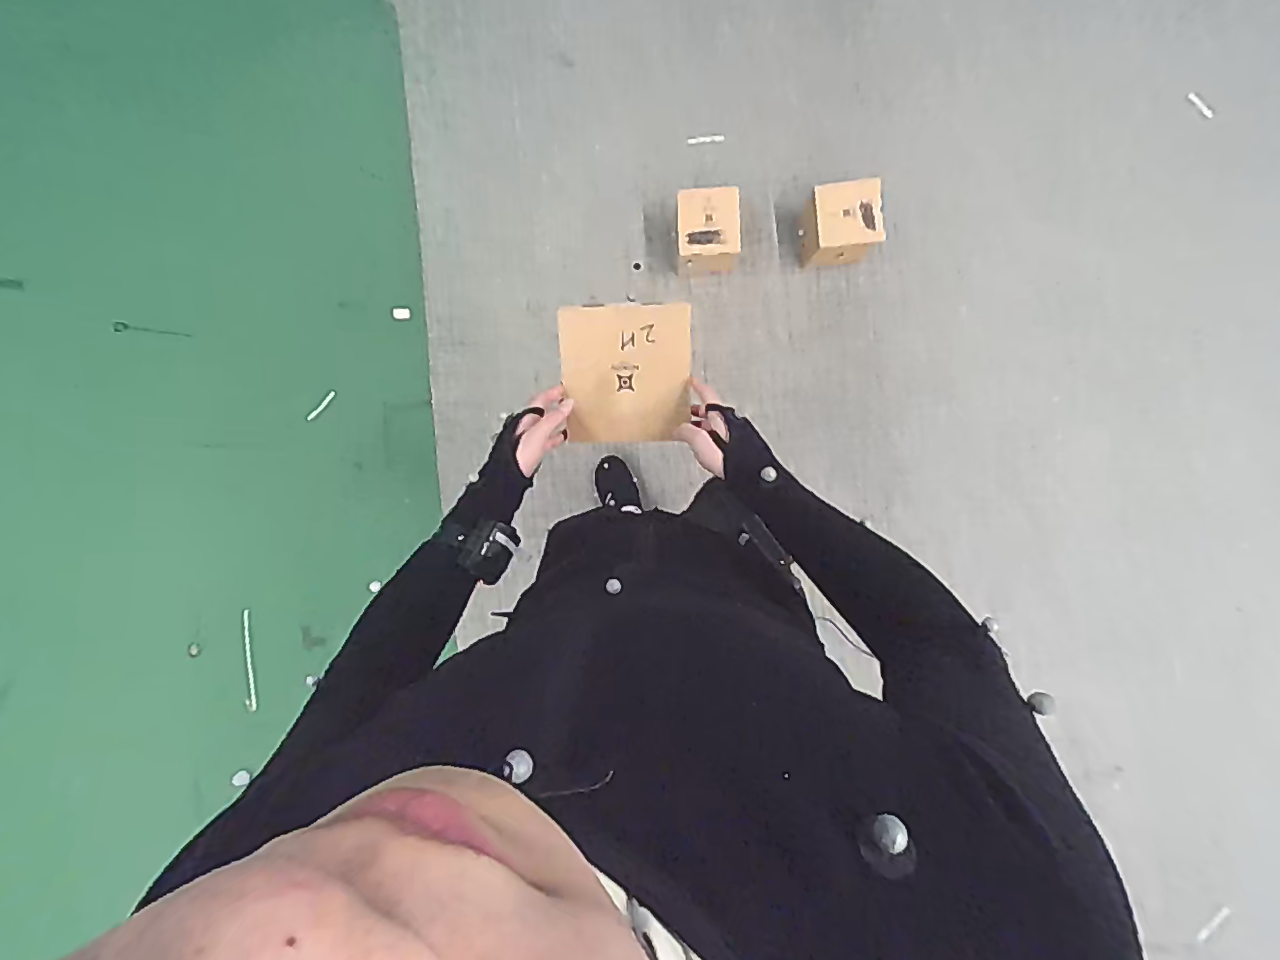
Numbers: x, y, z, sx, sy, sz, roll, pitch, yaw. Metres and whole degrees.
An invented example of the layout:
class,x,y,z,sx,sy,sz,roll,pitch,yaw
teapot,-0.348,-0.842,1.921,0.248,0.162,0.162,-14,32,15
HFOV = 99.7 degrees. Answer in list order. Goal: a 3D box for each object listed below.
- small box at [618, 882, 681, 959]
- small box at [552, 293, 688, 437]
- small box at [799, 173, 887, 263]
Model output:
class,x,y,z,sx,sy,sz,roll,pitch,yaw
small box,0.028,1.321,1.589,0.179,0.176,0.168,-3,92,1
small box,-0.018,-0.165,0.751,0.168,0.176,0.179,0,108,5
small box,0.550,-0.712,1.482,0.179,0.176,0.168,-5,92,2
